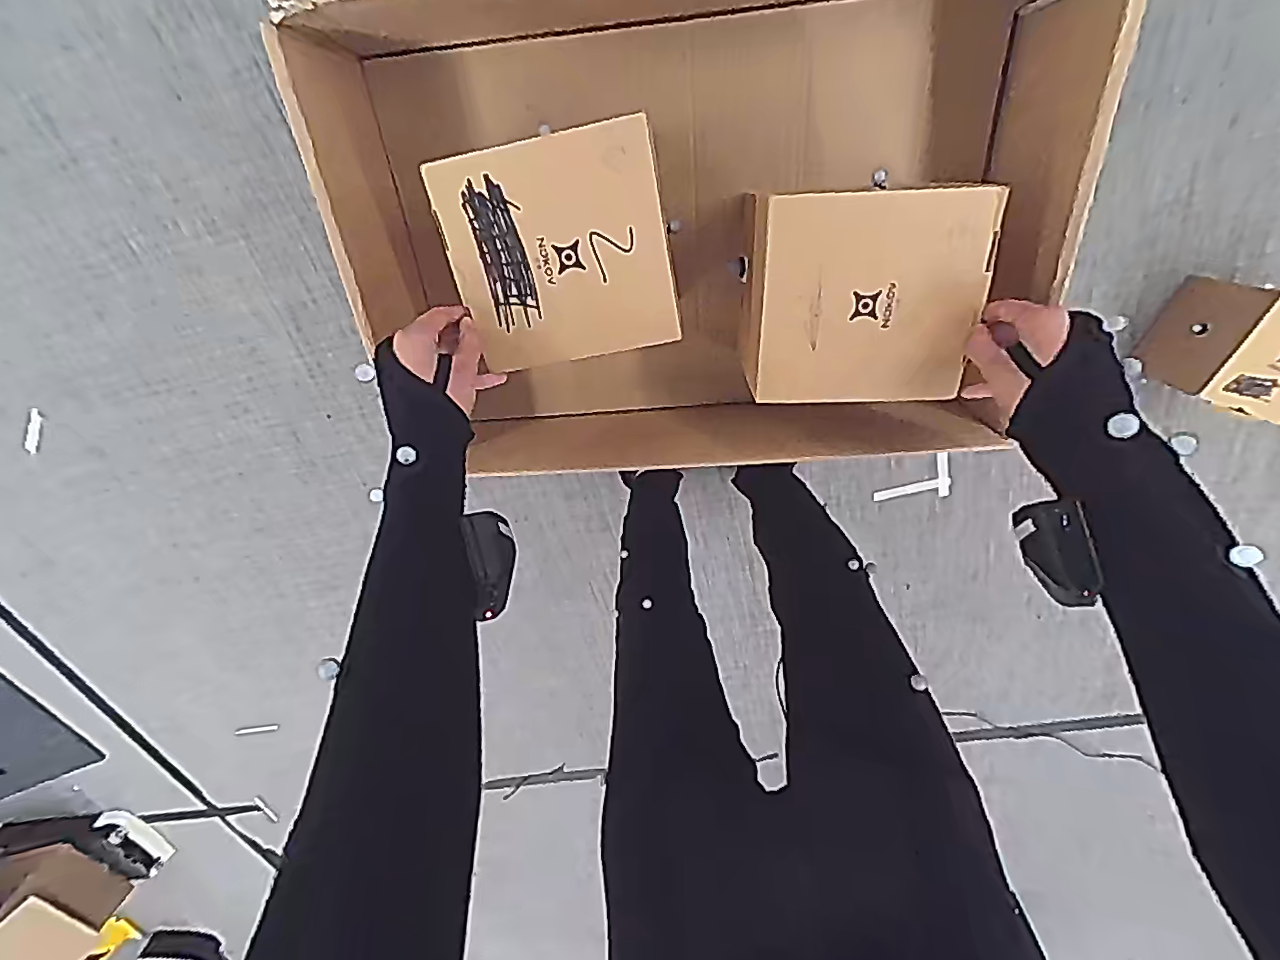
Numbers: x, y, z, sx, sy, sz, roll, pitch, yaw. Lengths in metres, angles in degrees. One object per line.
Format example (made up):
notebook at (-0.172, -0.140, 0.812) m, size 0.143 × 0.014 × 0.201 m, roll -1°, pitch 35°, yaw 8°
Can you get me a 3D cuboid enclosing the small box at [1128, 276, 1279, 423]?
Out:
small box at (0.996, -0.227, 0.916) m, size 0.168 × 0.176 × 0.179 m, roll 16°, pitch 118°, yaw -6°
